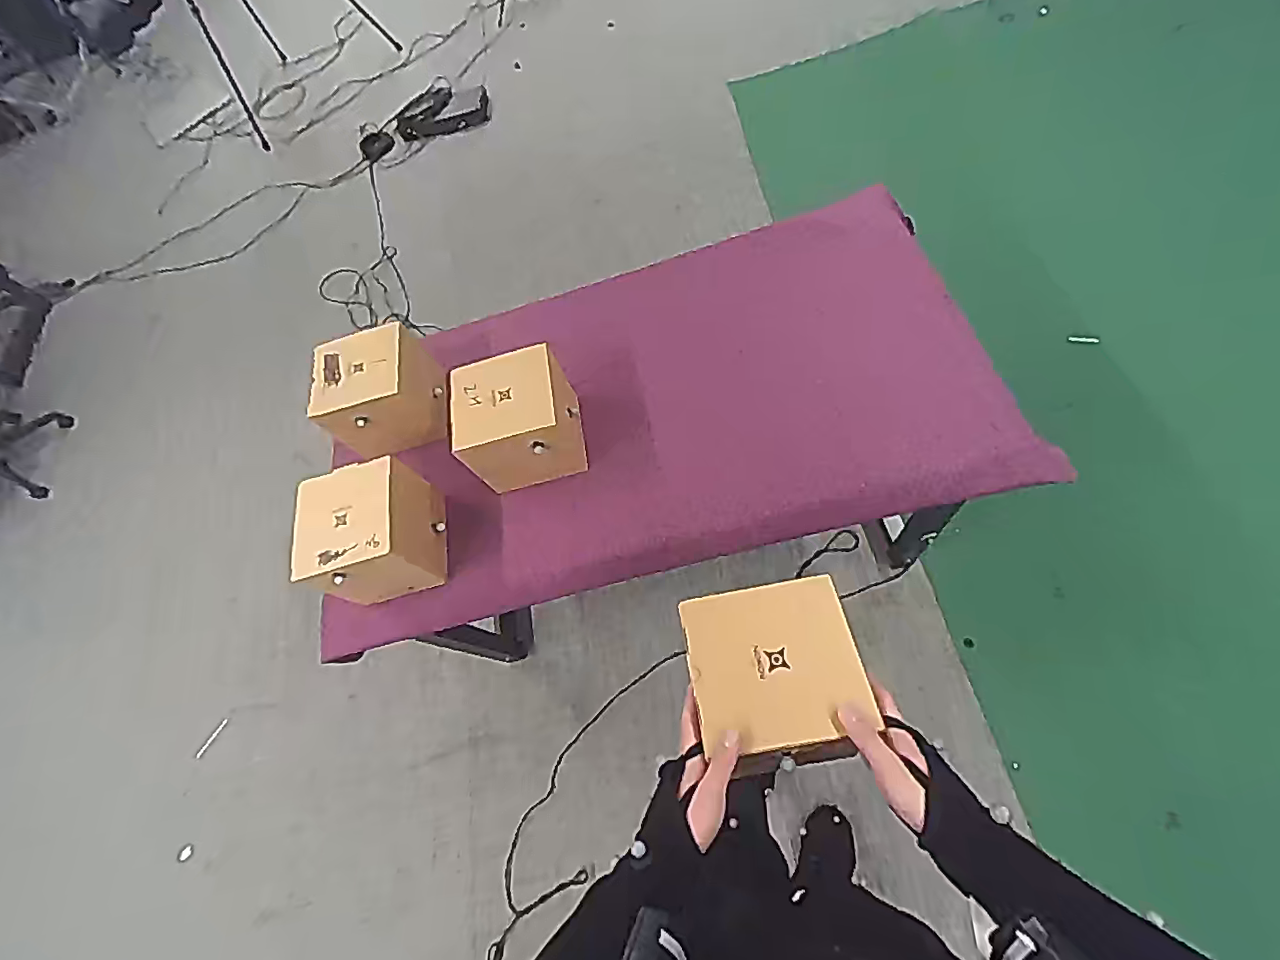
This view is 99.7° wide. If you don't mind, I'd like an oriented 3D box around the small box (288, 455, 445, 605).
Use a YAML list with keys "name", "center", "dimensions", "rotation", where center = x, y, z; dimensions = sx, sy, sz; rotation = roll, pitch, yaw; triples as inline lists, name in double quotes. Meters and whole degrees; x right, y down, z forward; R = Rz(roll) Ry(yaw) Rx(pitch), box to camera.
- name: "small box"
  center: [-0.441, 0.089, 0.900]
  dimensions: [0.168, 0.176, 0.179]
  rotation: [-16, 62, 6]

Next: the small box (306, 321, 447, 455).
- name: "small box"
  center: [-0.491, -0.166, 1.029]
  dimensions: [0.179, 0.176, 0.168]
  rotation: [-14, 64, 6]

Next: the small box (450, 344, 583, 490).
- name: "small box"
  center: [-0.205, -0.101, 0.931]
  dimensions: [0.179, 0.176, 0.168]
  rotation: [-14, 63, 7]

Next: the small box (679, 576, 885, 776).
- name: "small box"
  center: [0.151, 0.231, 0.623]
  dimensions: [0.179, 0.176, 0.168]
  rotation: [-13, 55, 5]
